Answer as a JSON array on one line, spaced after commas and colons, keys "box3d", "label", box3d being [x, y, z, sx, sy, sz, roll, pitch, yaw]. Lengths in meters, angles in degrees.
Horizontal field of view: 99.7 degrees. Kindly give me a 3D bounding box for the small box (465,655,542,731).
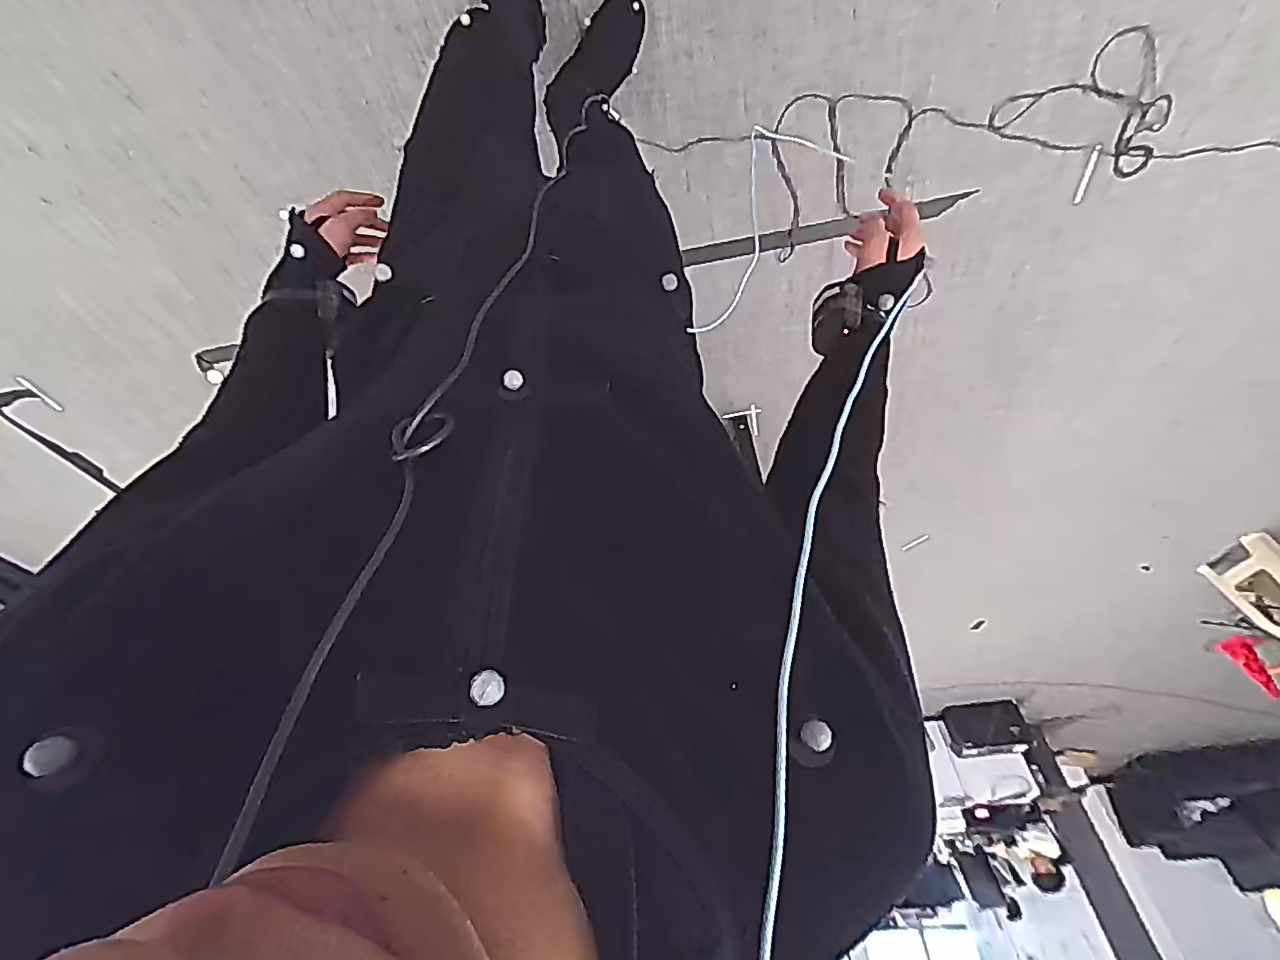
[{"box3d": [-0.404, 0.643, 1.637, 0.179, 0.176, 0.168, -9, 138, 8], "label": "small box"}]
